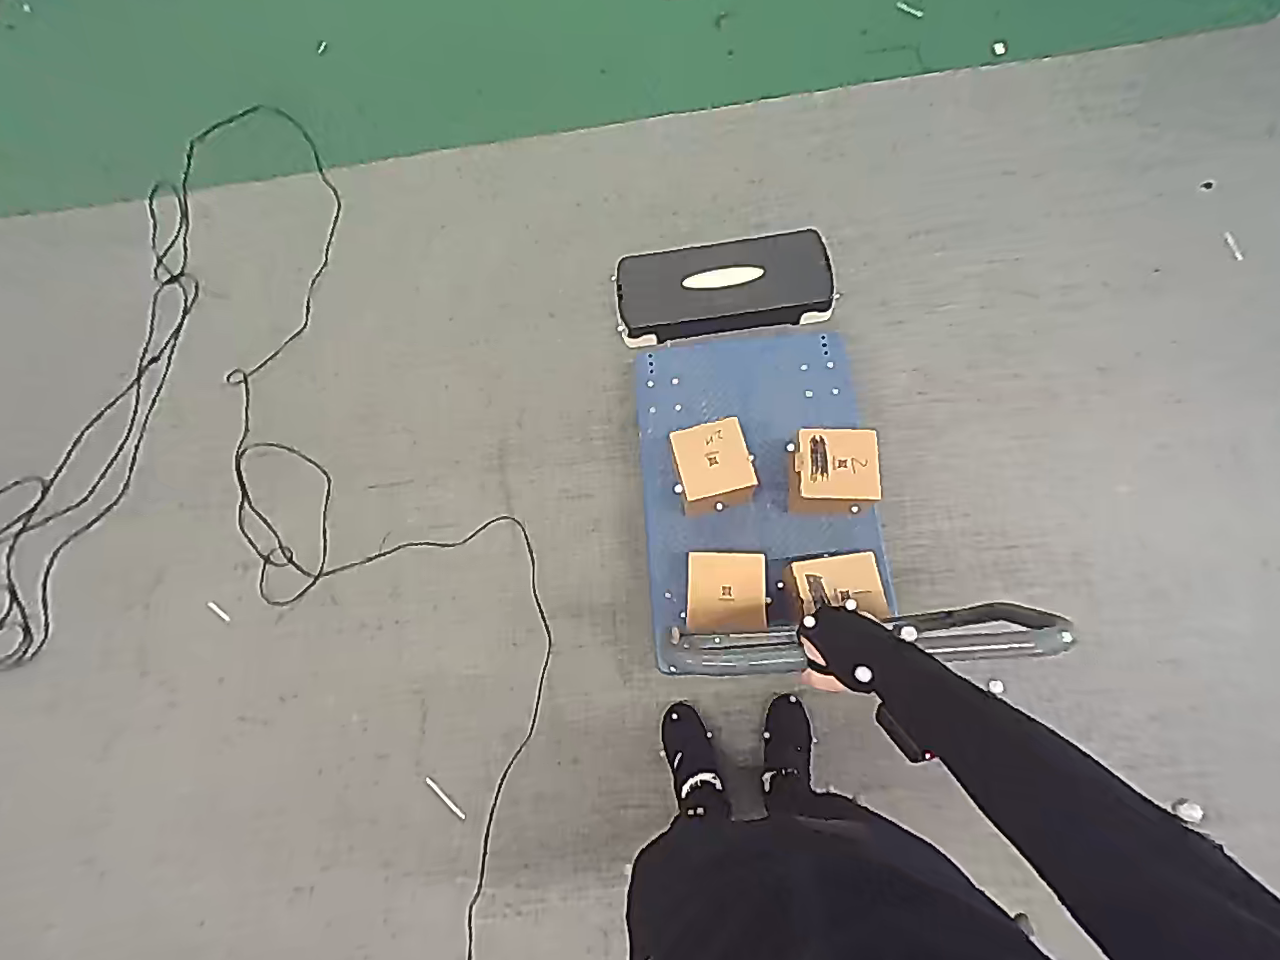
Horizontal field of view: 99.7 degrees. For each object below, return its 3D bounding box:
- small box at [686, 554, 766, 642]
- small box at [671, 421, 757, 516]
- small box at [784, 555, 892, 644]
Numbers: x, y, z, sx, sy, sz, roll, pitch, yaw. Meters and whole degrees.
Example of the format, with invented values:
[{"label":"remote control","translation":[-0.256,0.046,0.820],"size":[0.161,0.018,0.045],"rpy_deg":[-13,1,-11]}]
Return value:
[{"label":"small box","translation":[0.190,0.271,1.225],"size":[0.168,0.176,0.179],"rpy_deg":[1,74,5]},{"label":"small box","translation":[0.175,-0.019,1.317],"size":[0.168,0.176,0.179],"rpy_deg":[-13,72,0]},{"label":"small box","translation":[0.427,0.271,1.202],"size":[0.179,0.176,0.168],"rpy_deg":[-8,72,3]}]
